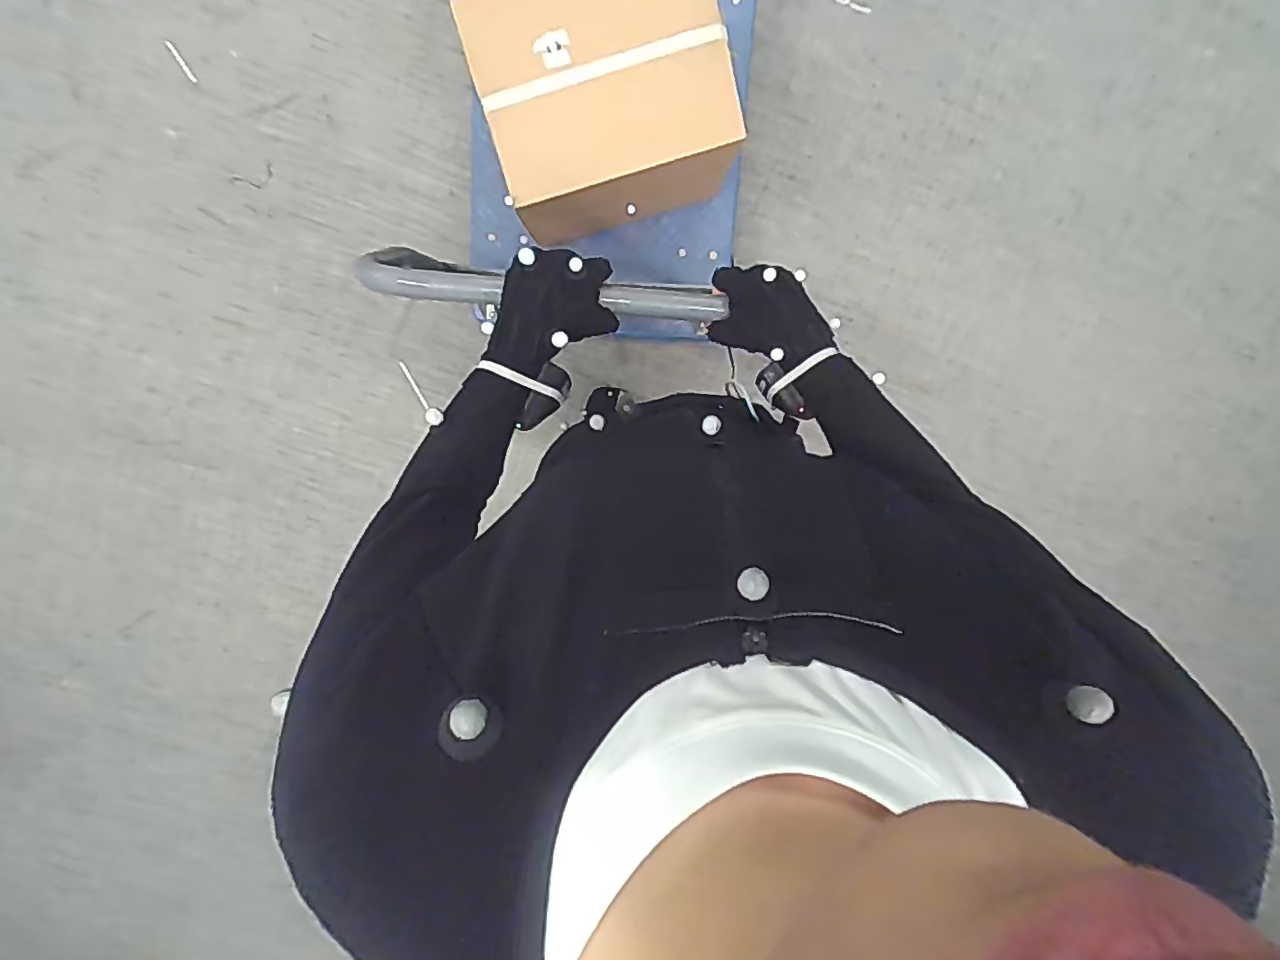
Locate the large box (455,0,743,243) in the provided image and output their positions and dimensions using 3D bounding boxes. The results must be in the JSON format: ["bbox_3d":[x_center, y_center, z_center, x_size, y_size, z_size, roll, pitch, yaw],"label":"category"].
[{"bbox_3d":[-0.063,-0.689,1.016,0.408,0.320,0.320,-17,101,2],"label":"large box"}]
